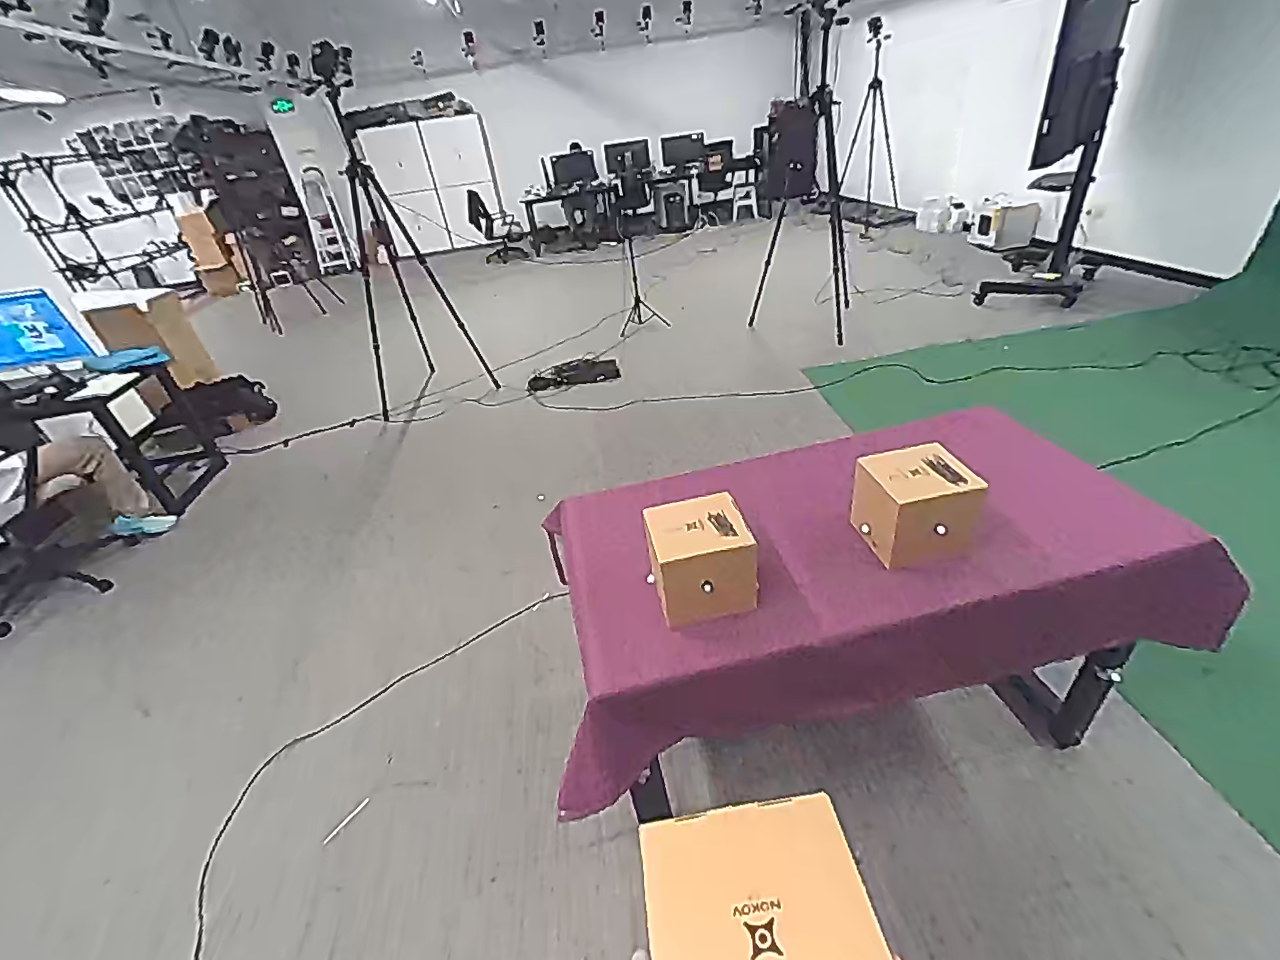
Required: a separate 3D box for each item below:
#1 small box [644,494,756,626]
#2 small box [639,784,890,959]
[{"bbox_3d":[0.114,0.153,1.039,0.179,0.176,0.168,-12,33,-4],"label":"small box"},{"bbox_3d":[0.099,0.388,0.434,0.168,0.176,0.179,-10,29,-1],"label":"small box"}]
